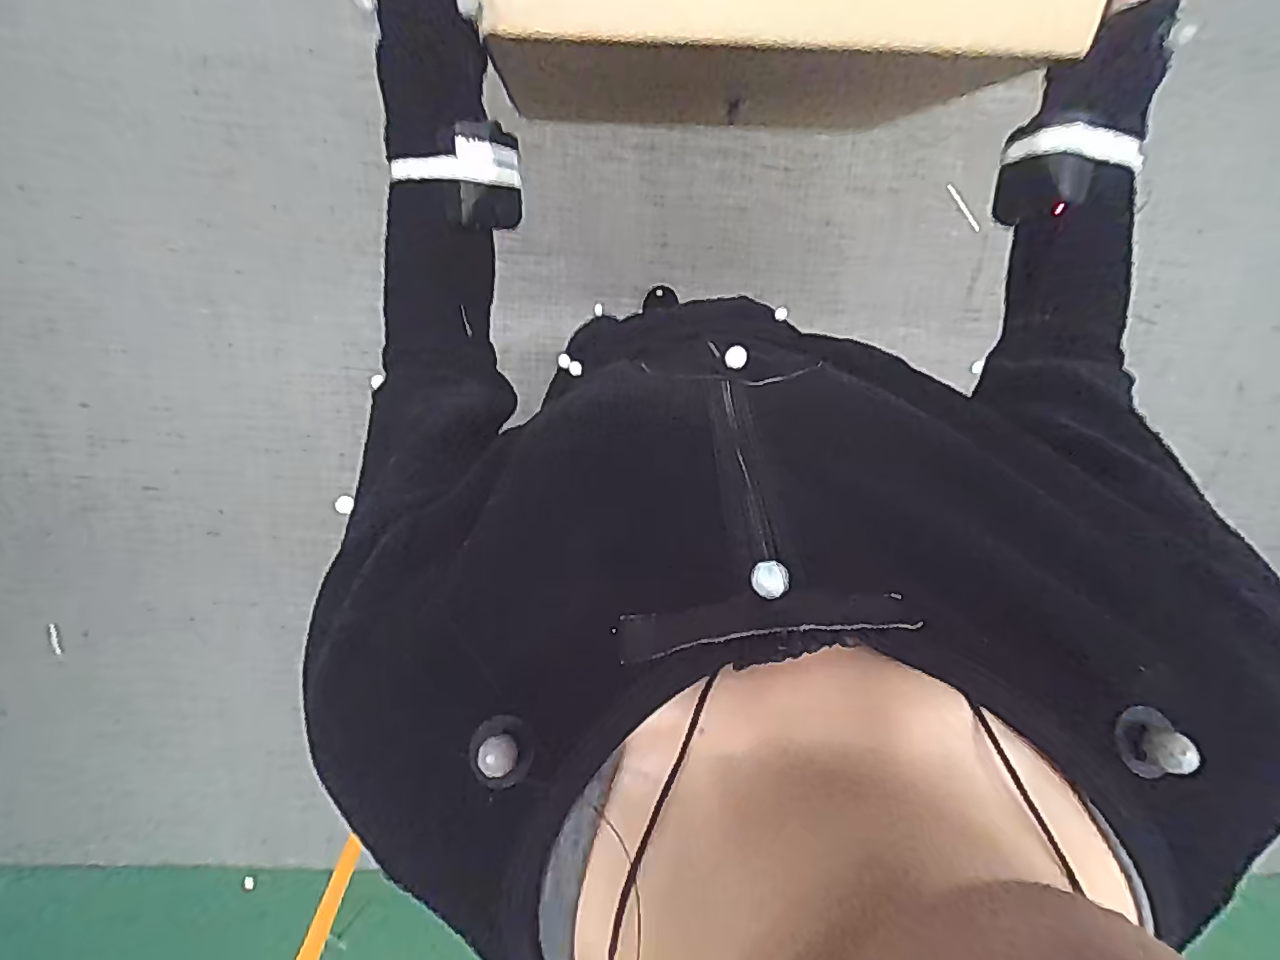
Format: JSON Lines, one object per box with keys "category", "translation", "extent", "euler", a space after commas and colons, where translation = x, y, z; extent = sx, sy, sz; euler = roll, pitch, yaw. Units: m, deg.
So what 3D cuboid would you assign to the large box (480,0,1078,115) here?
{"category": "large box", "translation": [0.085, -0.491, 0.426], "extent": [0.408, 0.320, 0.320], "euler": [-2, 115, -5]}
